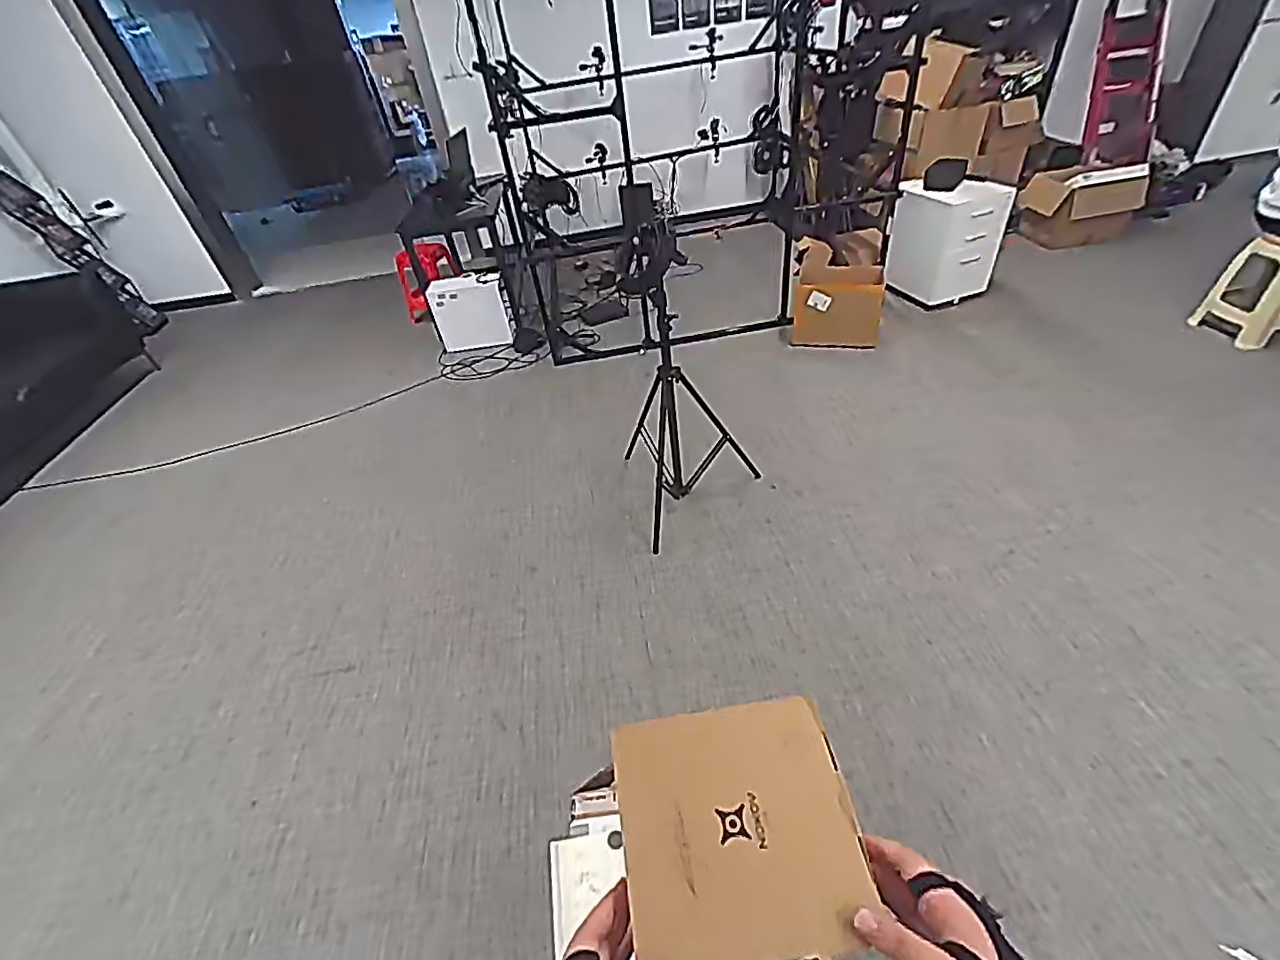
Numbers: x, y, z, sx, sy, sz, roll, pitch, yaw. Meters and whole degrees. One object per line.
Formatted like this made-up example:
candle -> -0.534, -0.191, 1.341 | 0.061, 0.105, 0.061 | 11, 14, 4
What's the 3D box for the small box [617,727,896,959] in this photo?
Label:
small box -> 0.079, 0.331, 0.466 | 0.179, 0.176, 0.168 | -9, 52, -4
